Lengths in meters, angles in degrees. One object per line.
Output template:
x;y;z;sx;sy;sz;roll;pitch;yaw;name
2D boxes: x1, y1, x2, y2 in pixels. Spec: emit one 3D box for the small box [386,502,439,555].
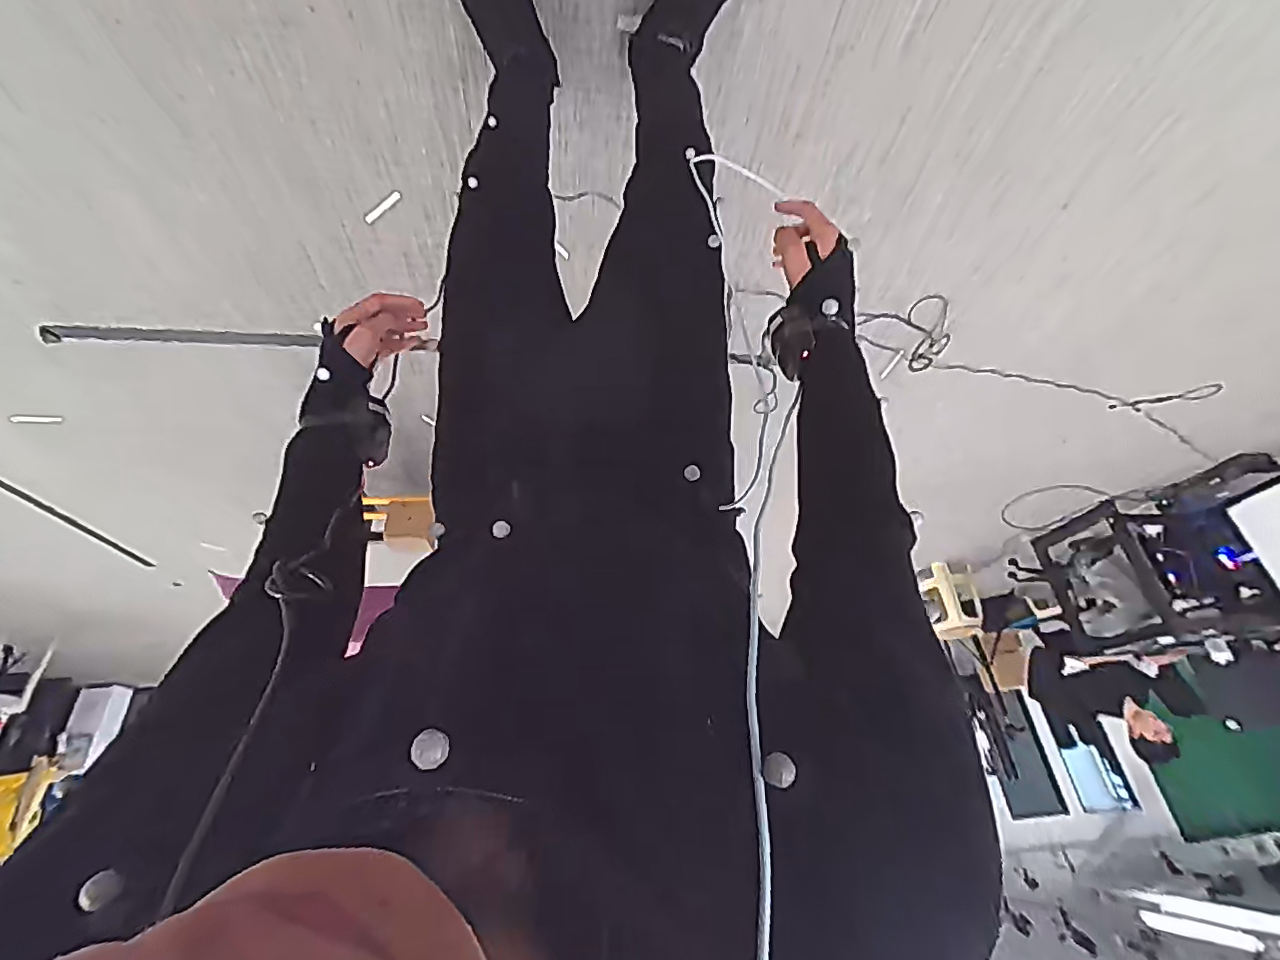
-0.945;0.201;2.259;0.168;0.176;0.179;1;151;-9;small box
